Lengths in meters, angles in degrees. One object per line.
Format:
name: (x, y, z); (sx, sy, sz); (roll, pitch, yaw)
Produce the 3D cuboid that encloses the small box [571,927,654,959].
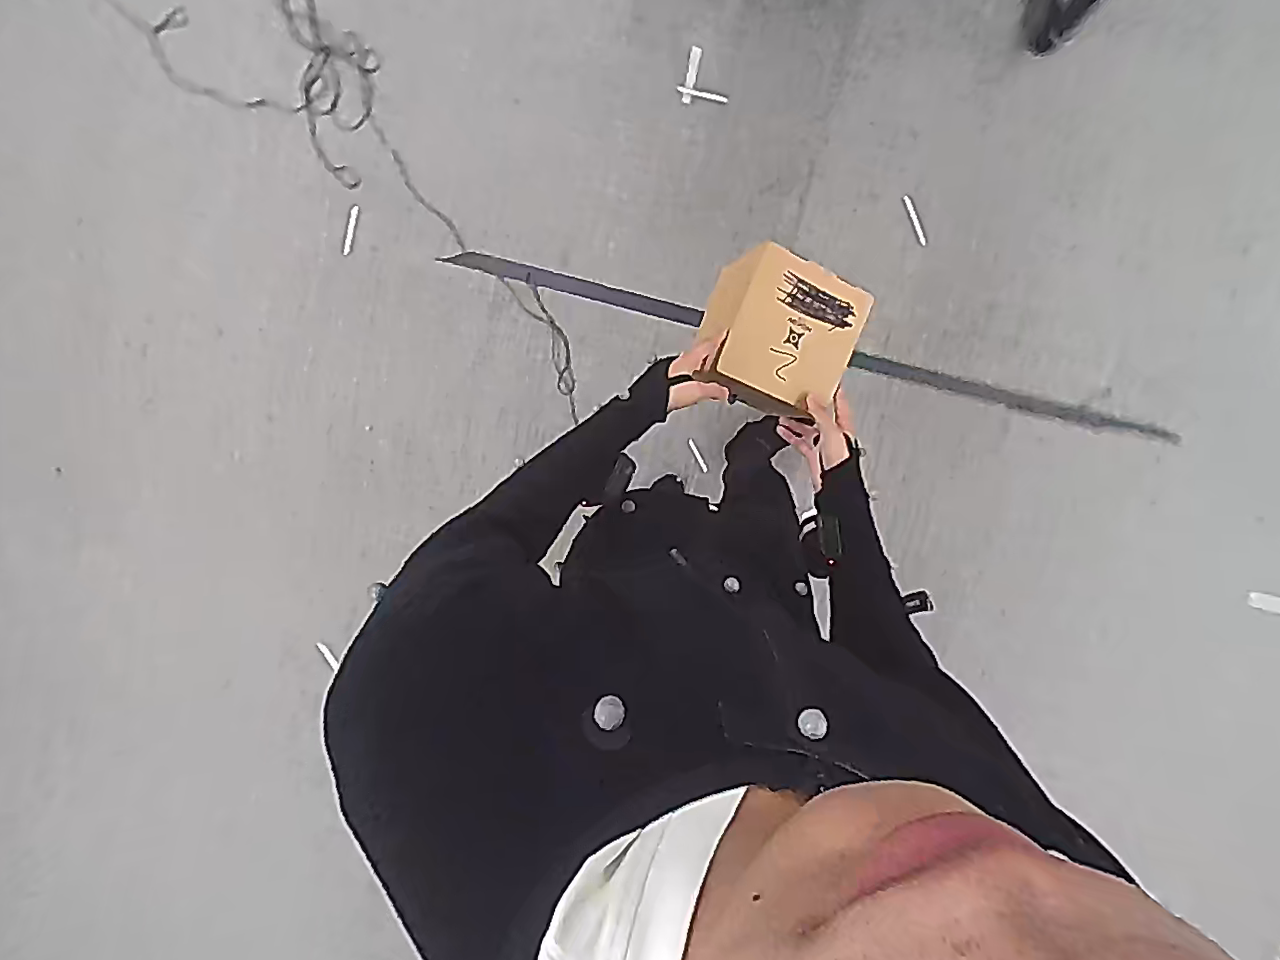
small box: (-0.066, 1.032, 1.047); (0.168, 0.176, 0.179); (11, 95, 0)
